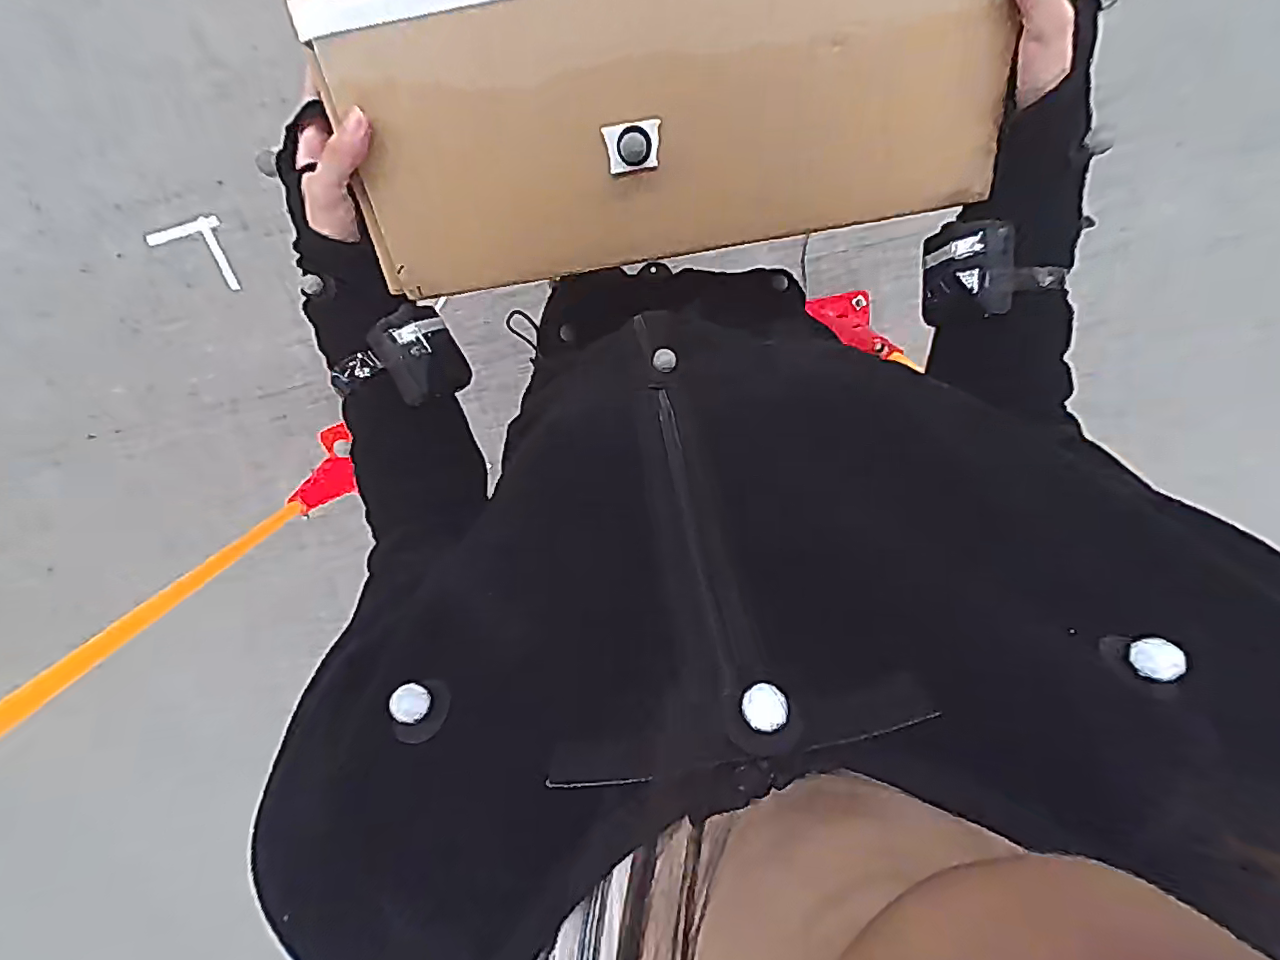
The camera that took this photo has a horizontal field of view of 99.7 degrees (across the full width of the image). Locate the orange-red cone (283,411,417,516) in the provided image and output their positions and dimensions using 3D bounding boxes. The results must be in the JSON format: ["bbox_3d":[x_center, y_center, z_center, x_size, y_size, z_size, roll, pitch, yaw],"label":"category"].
[{"bbox_3d":[-0.701,-0.005,1.246,0.199,0.360,0.198,-20,110,7],"label":"orange-red cone"}]
